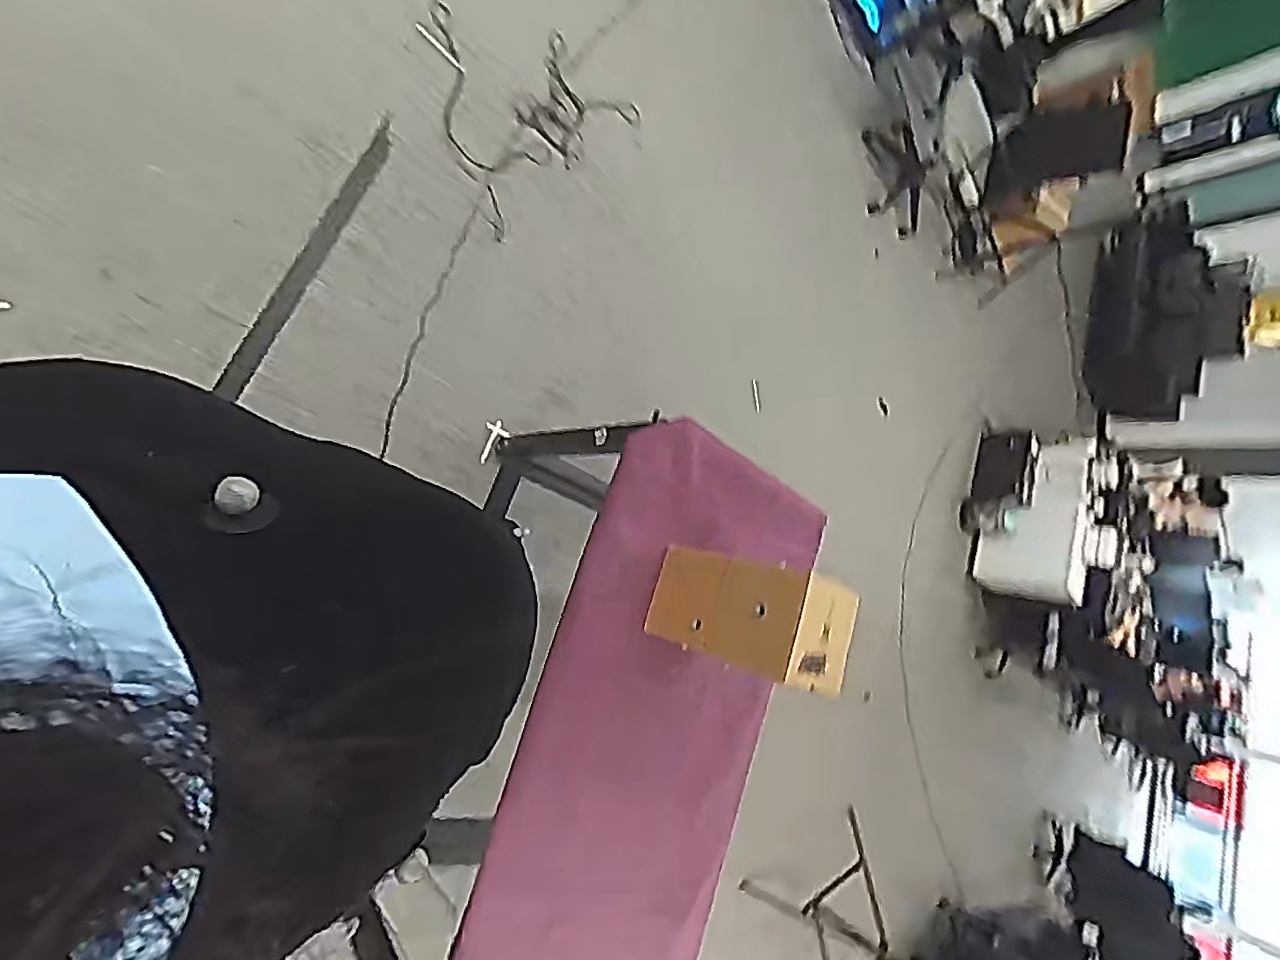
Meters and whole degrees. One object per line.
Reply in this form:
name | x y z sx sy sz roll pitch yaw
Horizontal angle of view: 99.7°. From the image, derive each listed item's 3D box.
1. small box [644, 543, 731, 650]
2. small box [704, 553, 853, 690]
small box | 0.133 0.233 1.061 0.168 0.176 0.179 27 76 -37
small box | 0.234 0.239 0.932 0.168 0.176 0.179 27 75 -38
